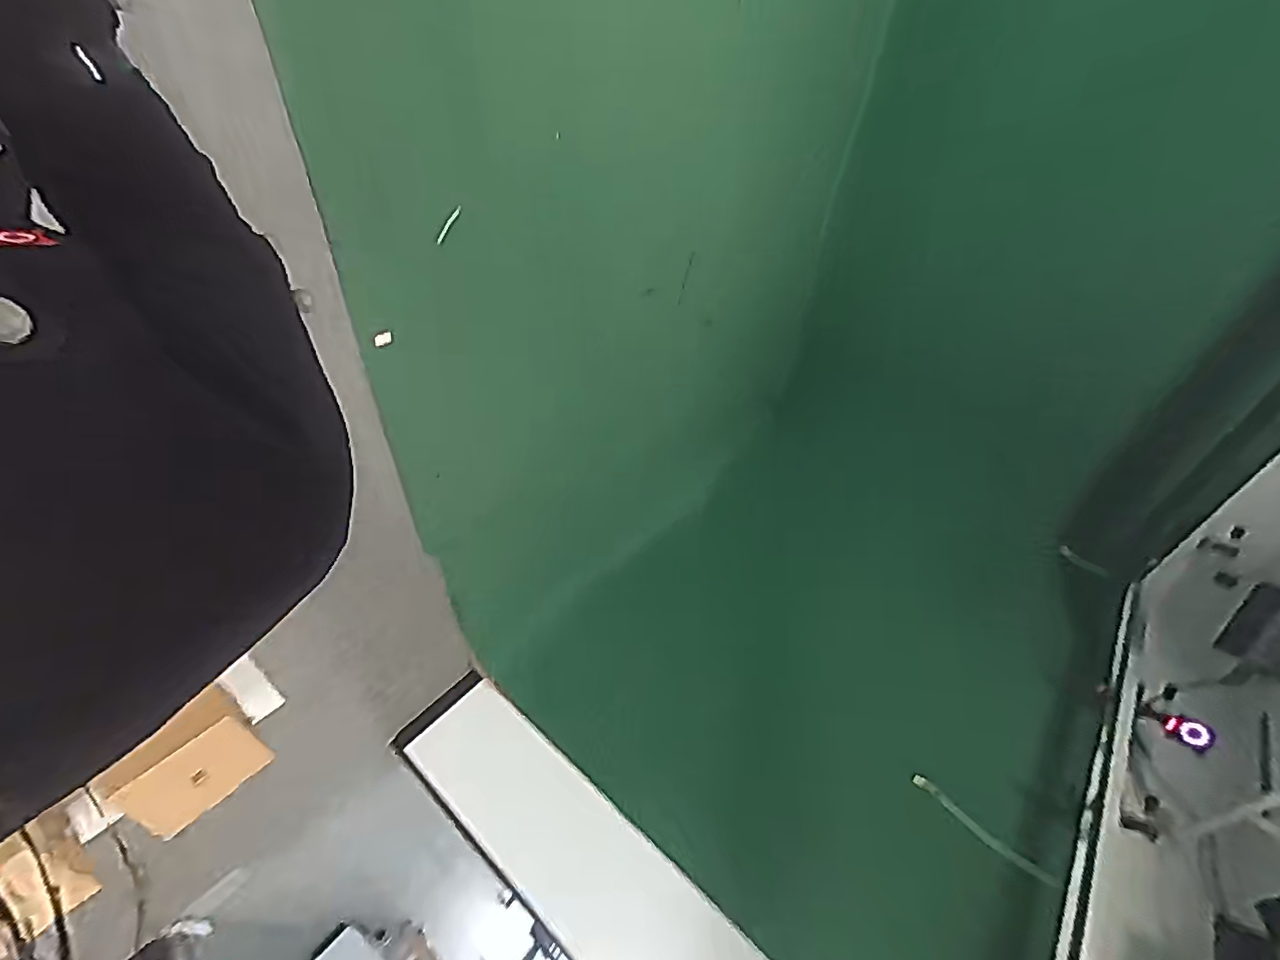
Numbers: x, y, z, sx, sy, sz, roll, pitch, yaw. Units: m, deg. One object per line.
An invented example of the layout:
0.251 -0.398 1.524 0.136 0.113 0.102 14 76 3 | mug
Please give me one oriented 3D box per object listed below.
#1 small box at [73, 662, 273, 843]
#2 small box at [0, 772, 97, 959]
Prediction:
-0.750 0.433 0.878 0.168 0.176 0.179 -38 145 -35 | small box
-0.900 0.537 0.727 0.168 0.176 0.179 -35 145 -40 | small box
